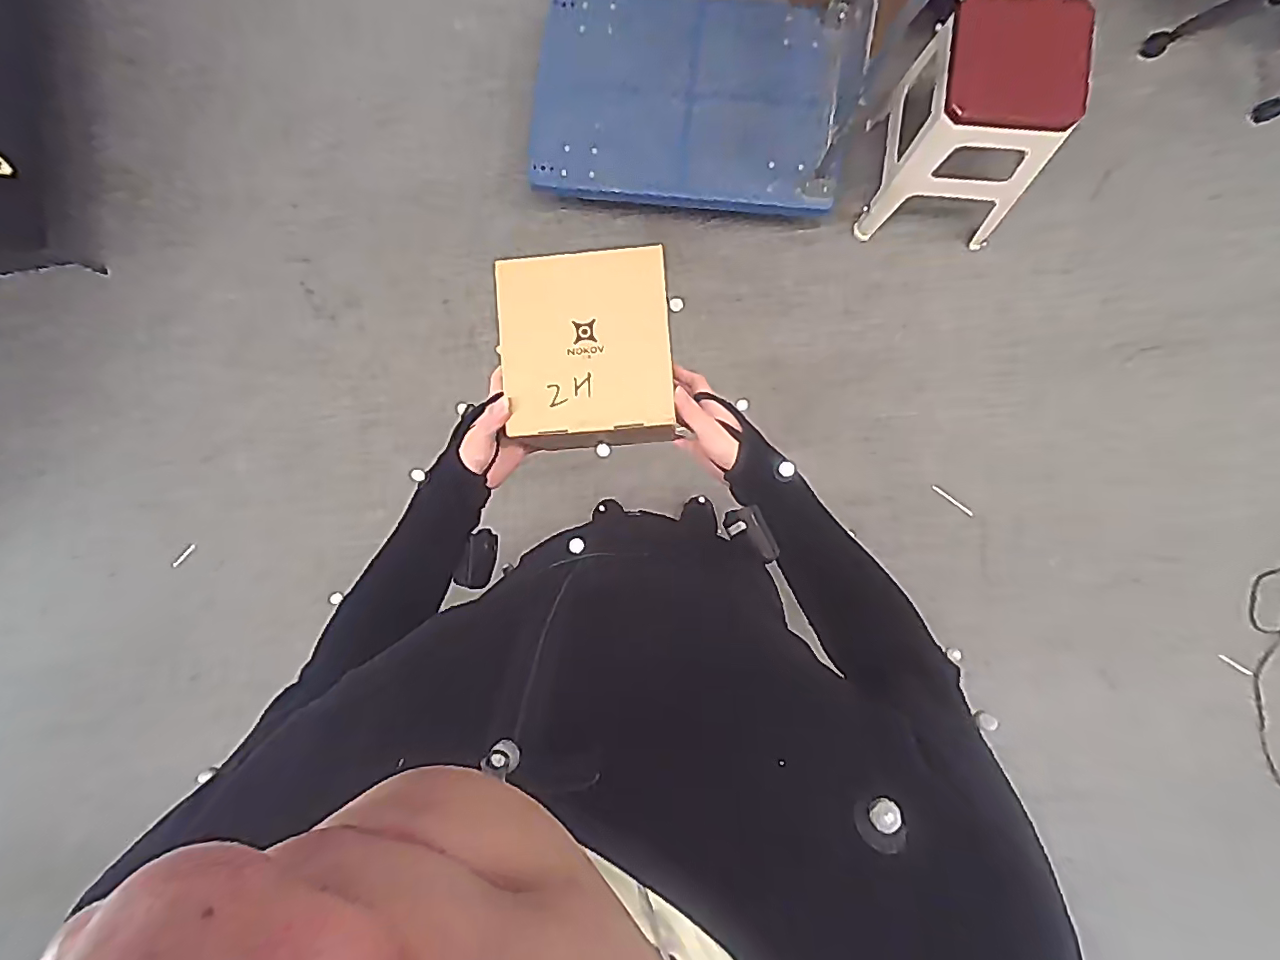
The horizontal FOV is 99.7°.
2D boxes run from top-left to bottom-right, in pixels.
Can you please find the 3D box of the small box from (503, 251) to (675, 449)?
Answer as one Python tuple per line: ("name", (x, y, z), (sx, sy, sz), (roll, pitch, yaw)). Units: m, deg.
("small box", (-0.049, -0.133, 0.611), (0.168, 0.176, 0.179), (-4, 89, 3))
